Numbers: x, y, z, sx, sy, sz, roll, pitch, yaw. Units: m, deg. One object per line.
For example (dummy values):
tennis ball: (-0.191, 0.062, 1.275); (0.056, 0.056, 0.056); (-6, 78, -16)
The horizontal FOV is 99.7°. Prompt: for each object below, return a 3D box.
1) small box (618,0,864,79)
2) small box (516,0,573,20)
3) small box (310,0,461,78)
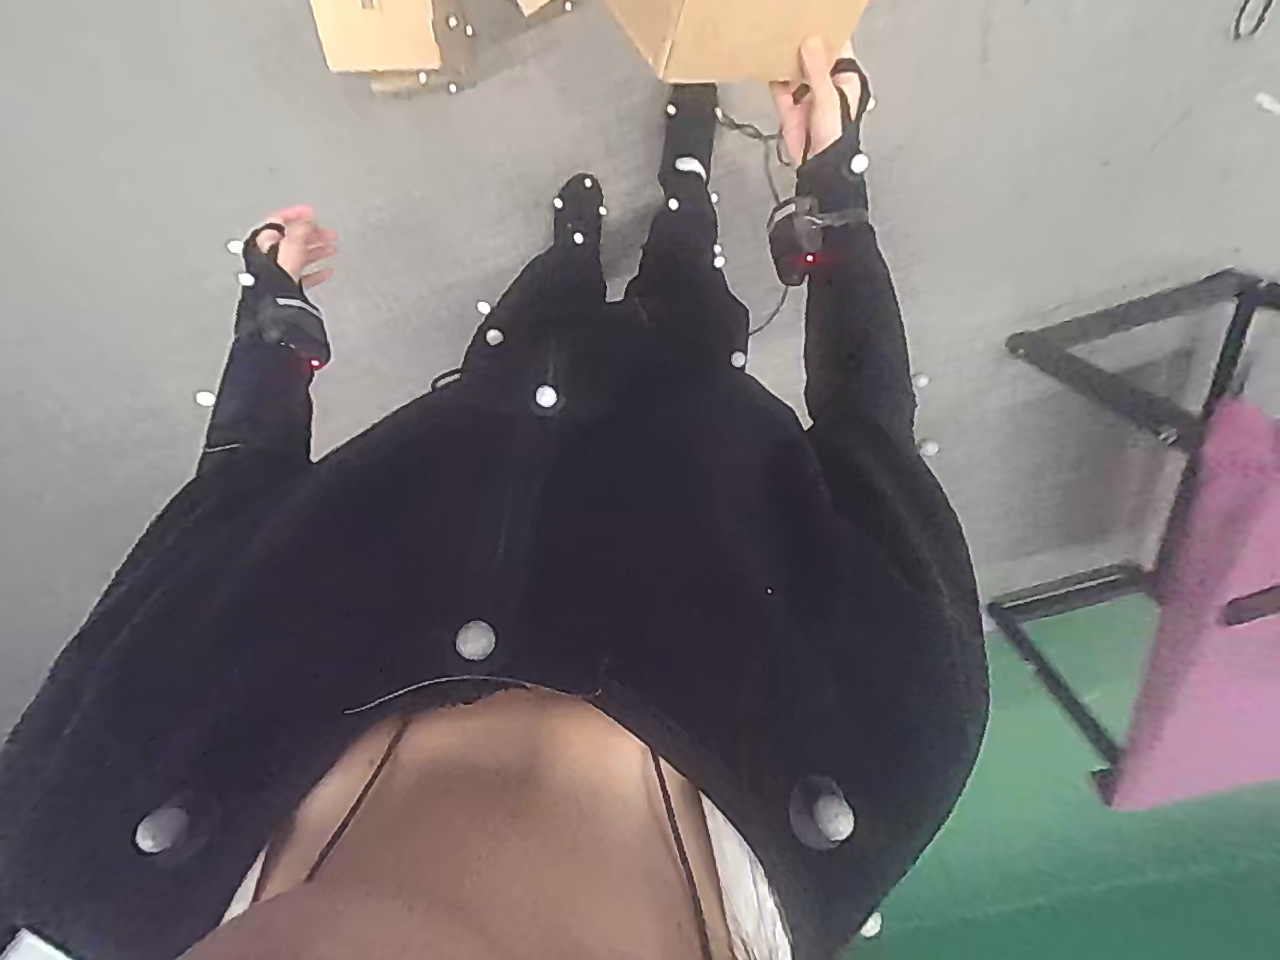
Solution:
small box: (0.070, -0.421, 0.375); (0.179, 0.176, 0.168); (-22, 166, -26)
small box: (-0.170, -0.946, 0.944); (0.168, 0.176, 0.179); (-24, 122, 12)
small box: (-0.405, -0.753, 0.864); (0.179, 0.176, 0.168); (-4, 123, -2)
